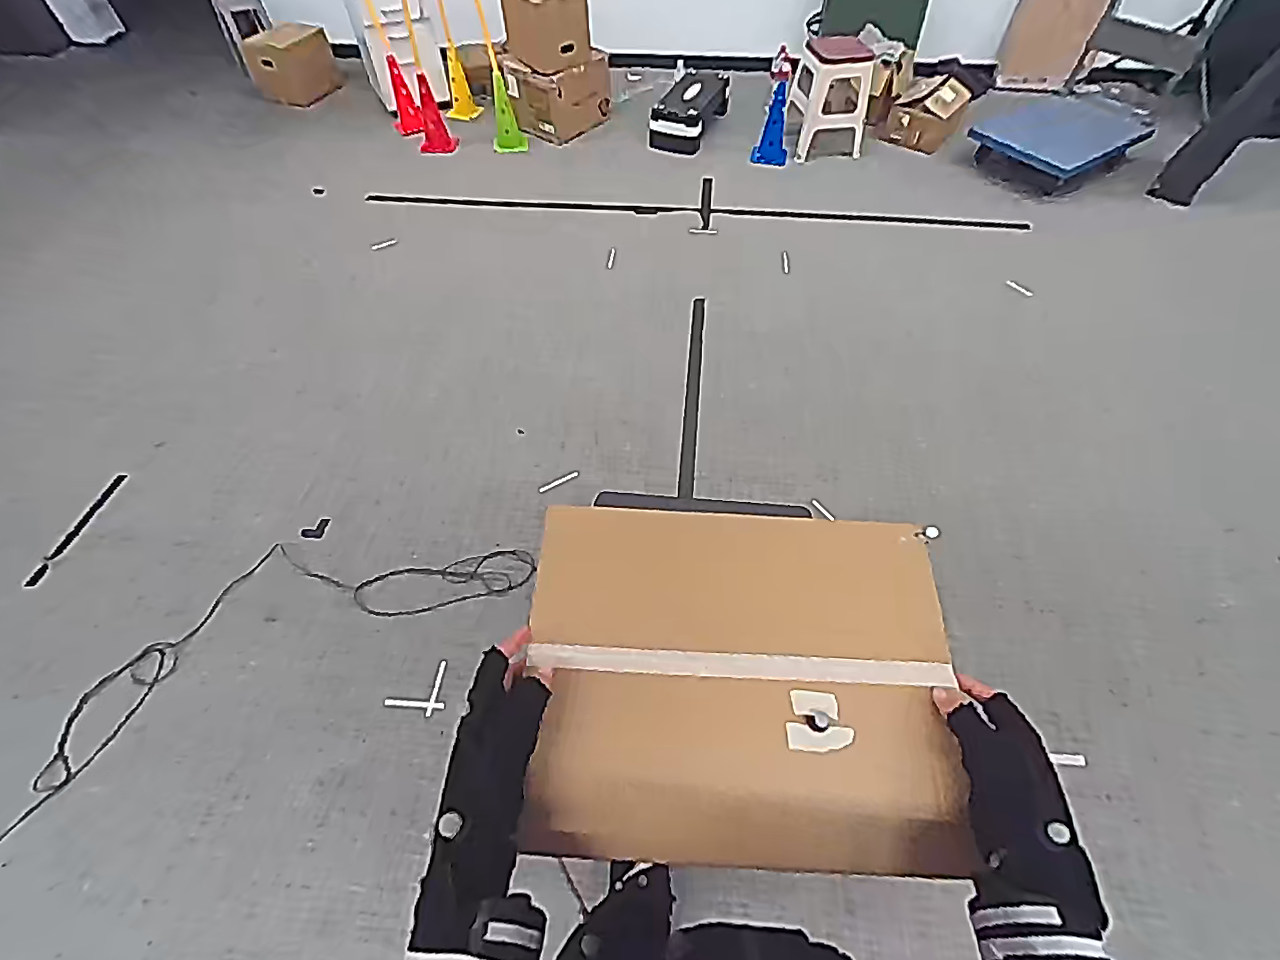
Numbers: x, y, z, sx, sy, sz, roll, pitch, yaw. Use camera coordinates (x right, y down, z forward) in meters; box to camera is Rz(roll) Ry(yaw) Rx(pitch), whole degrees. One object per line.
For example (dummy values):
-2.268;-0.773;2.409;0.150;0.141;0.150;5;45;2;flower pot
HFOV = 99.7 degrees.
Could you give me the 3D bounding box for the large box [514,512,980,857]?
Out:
0.089;0.247;0.654;0.408;0.320;0.320;3;62;0;large box
